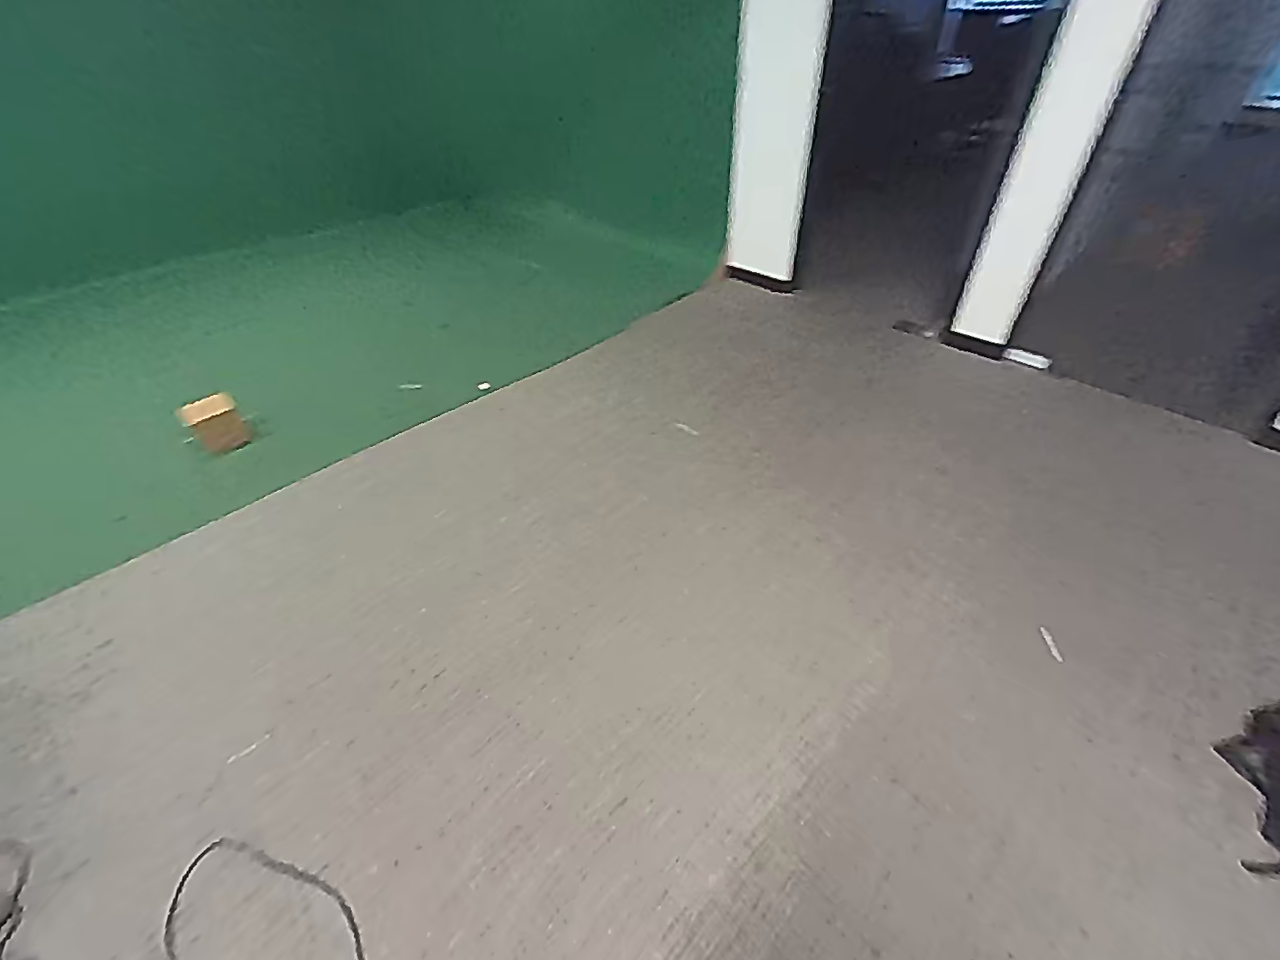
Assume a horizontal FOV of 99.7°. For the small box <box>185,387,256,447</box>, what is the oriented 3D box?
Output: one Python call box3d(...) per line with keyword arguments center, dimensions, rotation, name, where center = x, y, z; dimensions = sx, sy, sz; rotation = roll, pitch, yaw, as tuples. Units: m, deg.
box3d(center=(-1.802, -0.271, 2.326), dimensions=(0.168, 0.176, 0.179), rotation=(-35, 52, -29), name="small box")
